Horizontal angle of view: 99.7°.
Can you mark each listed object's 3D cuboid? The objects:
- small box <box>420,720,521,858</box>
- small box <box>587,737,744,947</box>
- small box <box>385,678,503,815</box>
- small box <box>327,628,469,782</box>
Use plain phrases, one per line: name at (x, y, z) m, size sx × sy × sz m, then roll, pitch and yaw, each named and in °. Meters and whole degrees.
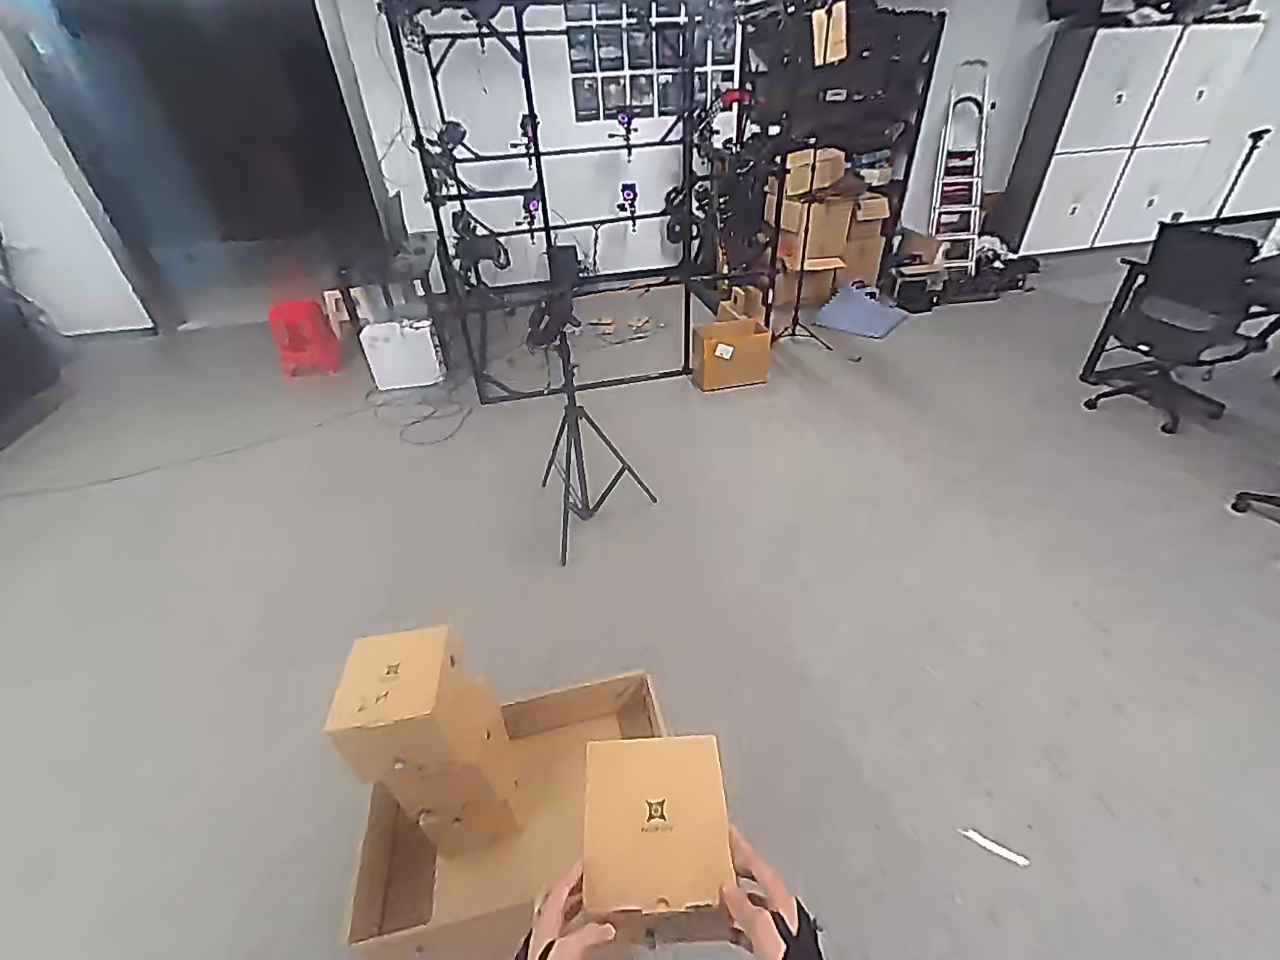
small box at (-0.351, 0.648, 1.138) m, size 0.168 × 0.176 × 0.179 m, roll -12°, pitch 36°, yaw -10°
small box at (0.023, 0.446, 0.671) m, size 0.168 × 0.176 × 0.179 m, roll -3°, pitch 41°, yaw -2°
small box at (-0.364, 0.515, 1.041) m, size 0.168 × 0.176 × 0.179 m, roll -7°, pitch 36°, yaw -6°
small box at (-0.403, 0.389, 0.939) m, size 0.168 × 0.176 × 0.179 m, roll -7°, pitch 37°, yaw -5°
